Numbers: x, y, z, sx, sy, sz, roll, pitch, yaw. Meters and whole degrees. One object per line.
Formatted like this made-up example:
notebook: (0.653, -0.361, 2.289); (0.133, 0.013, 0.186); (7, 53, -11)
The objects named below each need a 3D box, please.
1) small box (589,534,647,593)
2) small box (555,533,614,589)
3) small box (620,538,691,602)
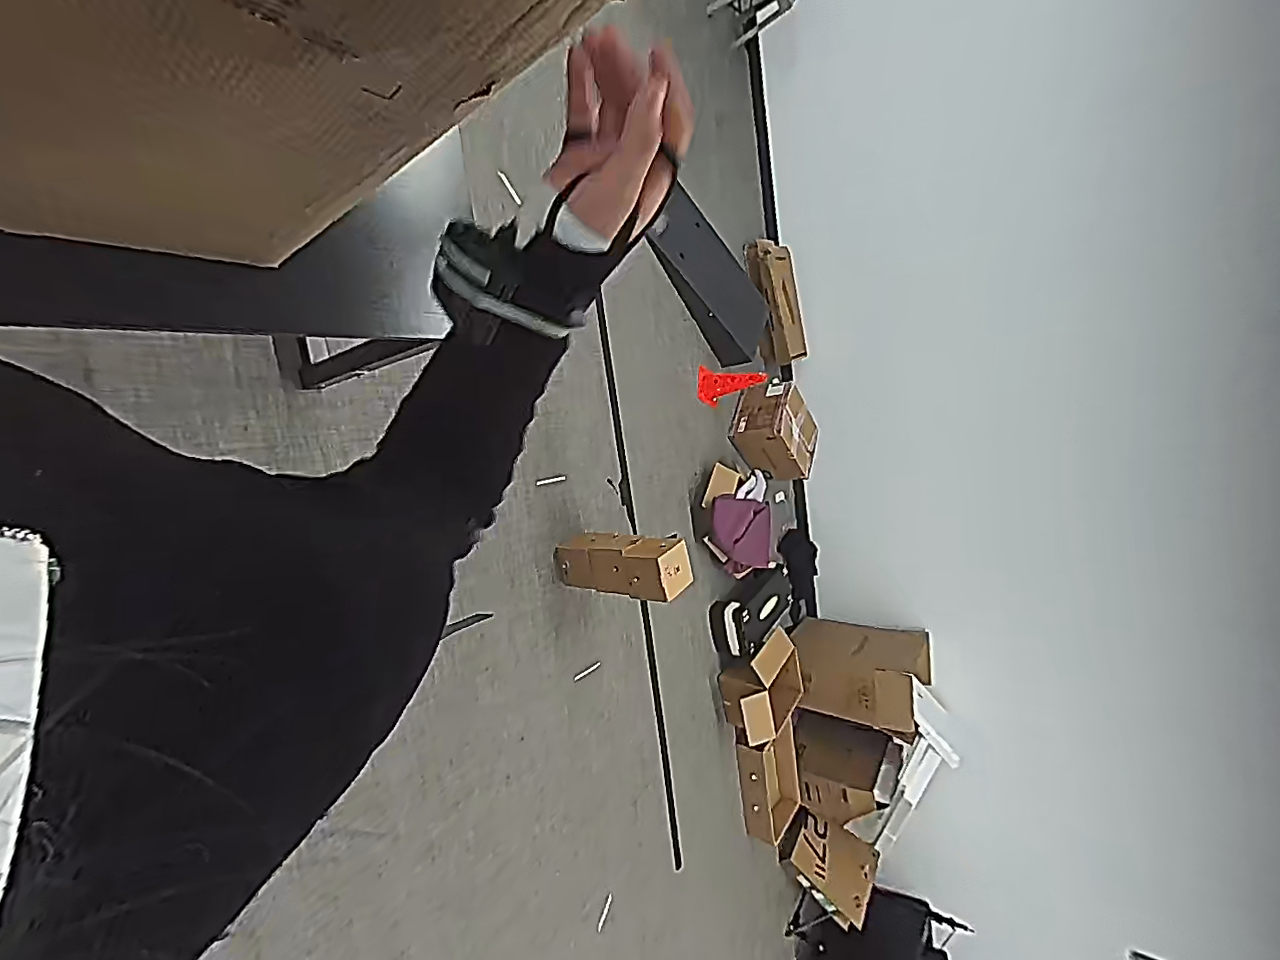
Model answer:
small box: (-0.073, 0.309, 2.023); (0.168, 0.176, 0.179); (-22, 106, -50)
small box: (-0.205, 0.311, 2.121); (0.179, 0.176, 0.168); (-25, 107, -49)
small box: (0.056, 0.312, 1.919); (0.179, 0.176, 0.168); (-28, 109, -49)
